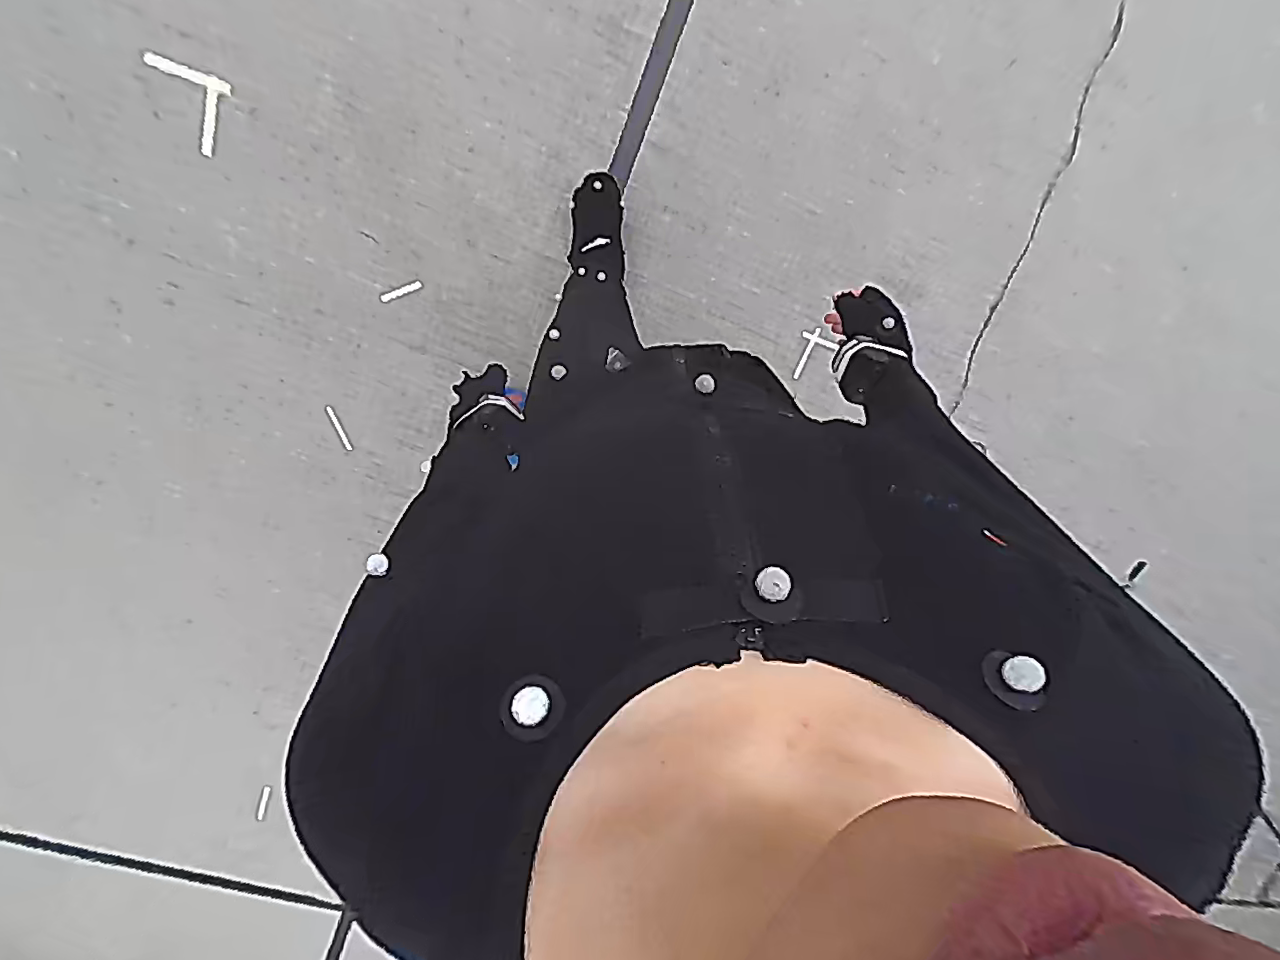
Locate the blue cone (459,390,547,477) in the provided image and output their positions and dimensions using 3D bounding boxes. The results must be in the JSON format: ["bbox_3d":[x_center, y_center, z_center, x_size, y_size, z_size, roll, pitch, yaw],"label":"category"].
[{"bbox_3d":[-0.343,-0.076,1.262,0.192,0.380,0.193,17,106,-7],"label":"blue cone"}]
